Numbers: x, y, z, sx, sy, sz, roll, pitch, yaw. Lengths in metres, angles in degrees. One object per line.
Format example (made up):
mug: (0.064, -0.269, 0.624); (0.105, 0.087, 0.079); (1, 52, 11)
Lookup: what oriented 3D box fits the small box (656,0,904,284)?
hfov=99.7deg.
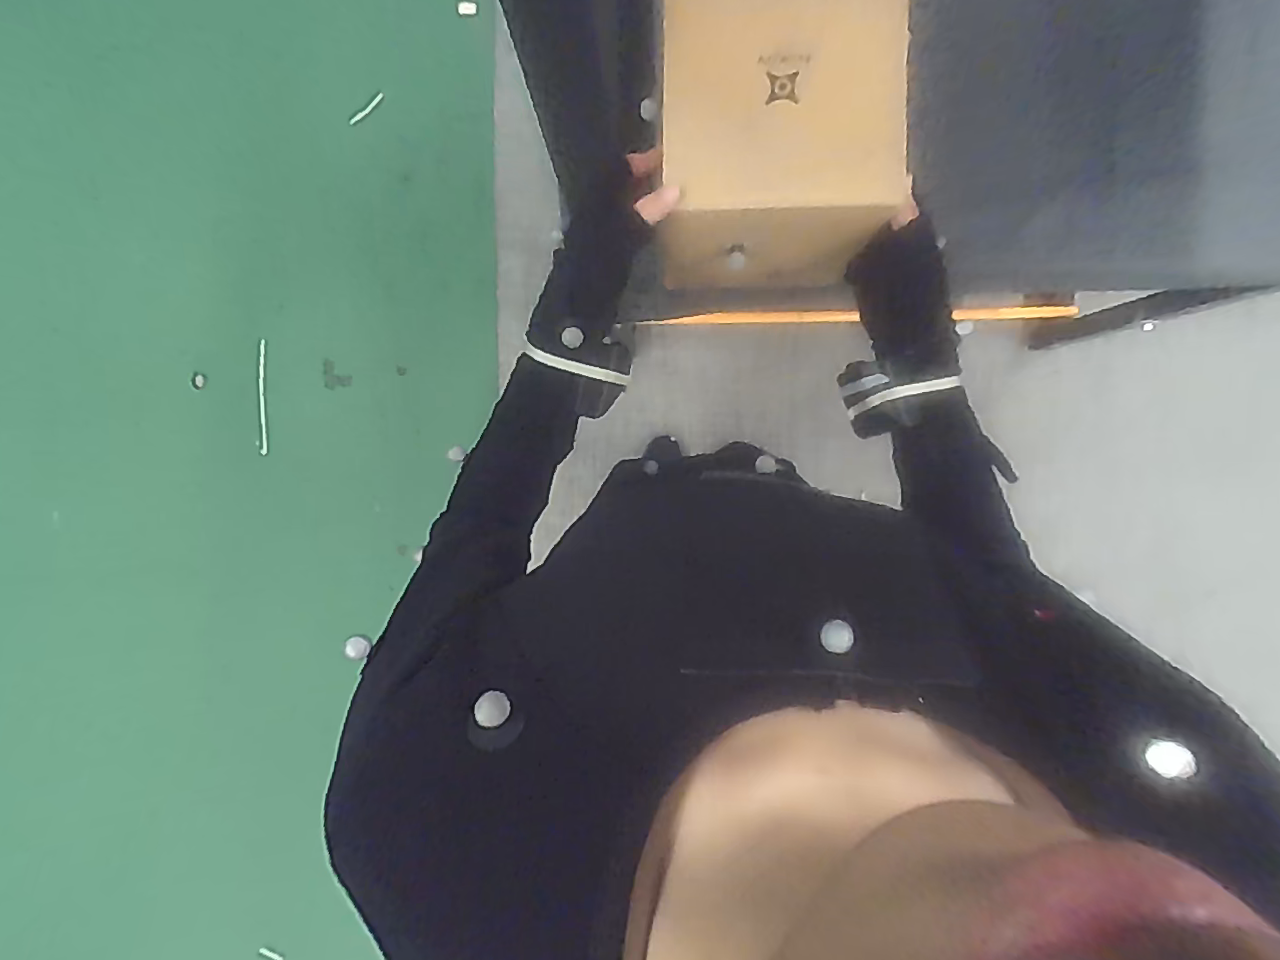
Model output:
small box: (0.100, -0.273, 0.447); (0.168, 0.176, 0.179); (0, 89, 4)
